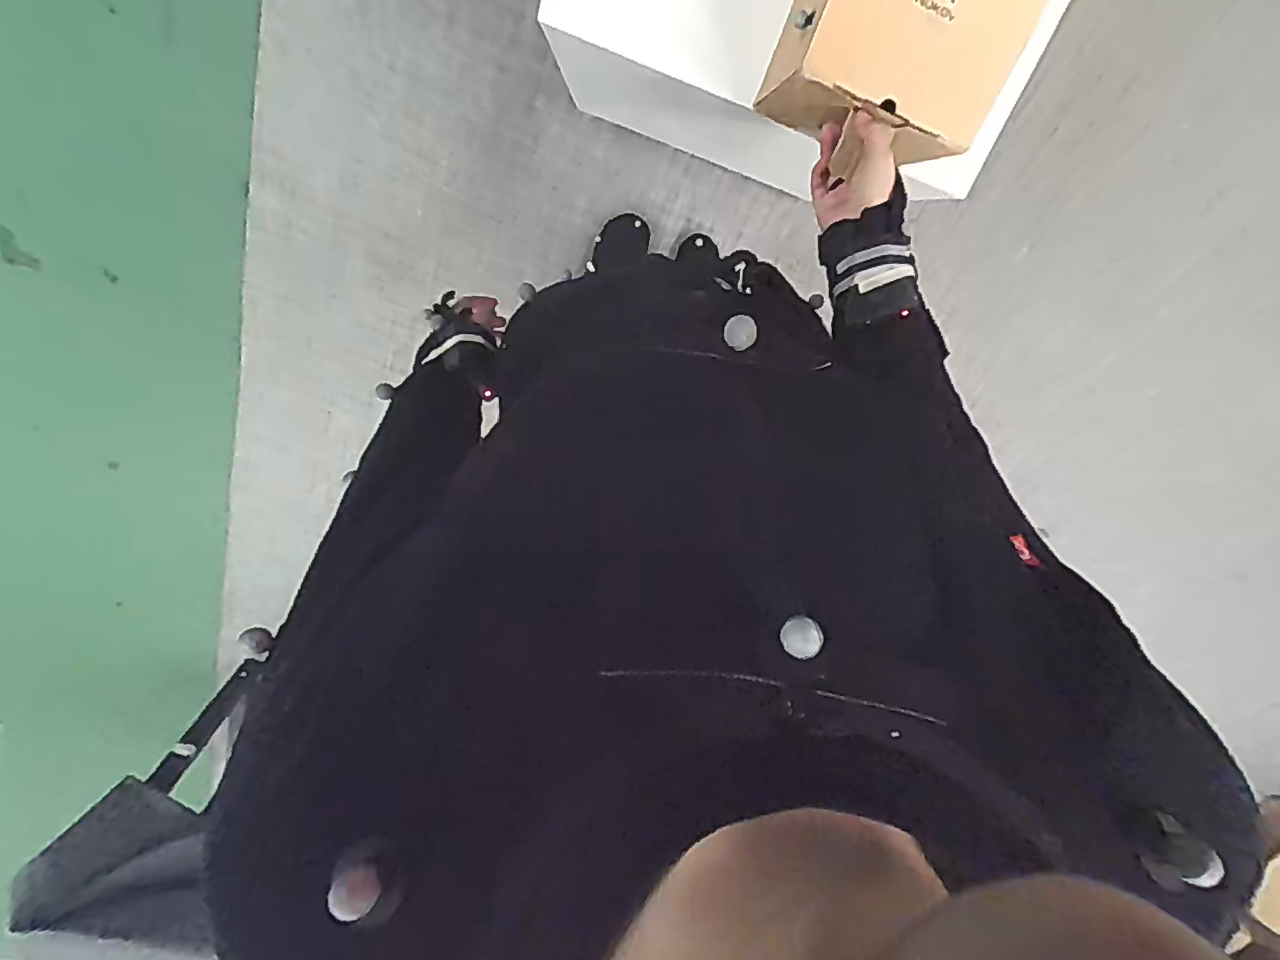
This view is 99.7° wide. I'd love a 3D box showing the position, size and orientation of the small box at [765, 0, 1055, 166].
[{"bbox_3d":[0.232,-0.408,0.484,0.168,0.176,0.179,17,114,-10],"label":"small box"}]
